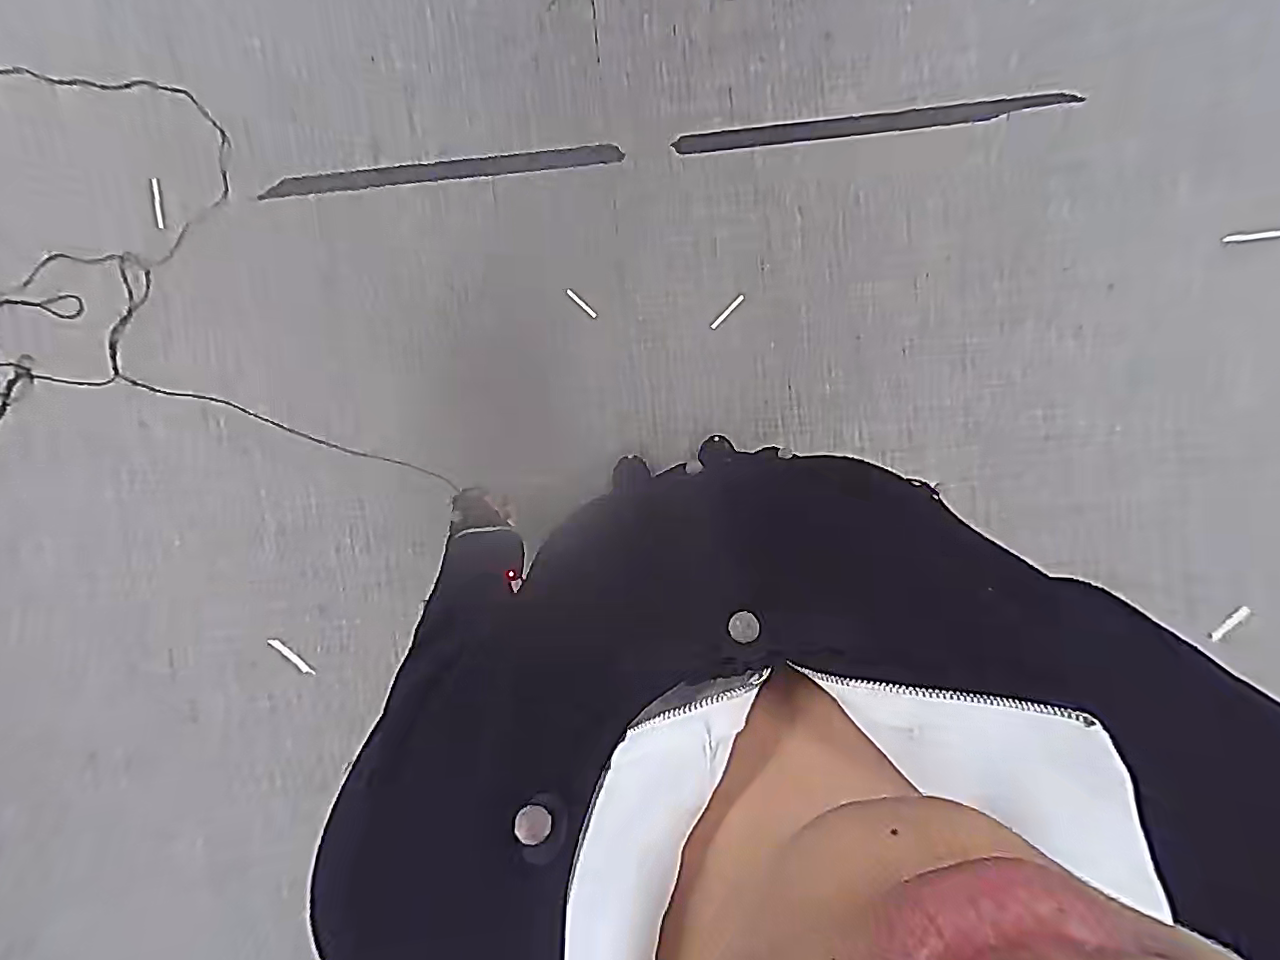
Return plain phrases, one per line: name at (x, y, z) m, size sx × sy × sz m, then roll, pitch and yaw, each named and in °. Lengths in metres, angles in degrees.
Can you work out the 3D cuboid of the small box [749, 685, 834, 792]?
small box at (0.368, 0.632, 1.335) m, size 0.168 × 0.176 × 0.179 m, roll -6°, pitch 94°, yaw 3°
